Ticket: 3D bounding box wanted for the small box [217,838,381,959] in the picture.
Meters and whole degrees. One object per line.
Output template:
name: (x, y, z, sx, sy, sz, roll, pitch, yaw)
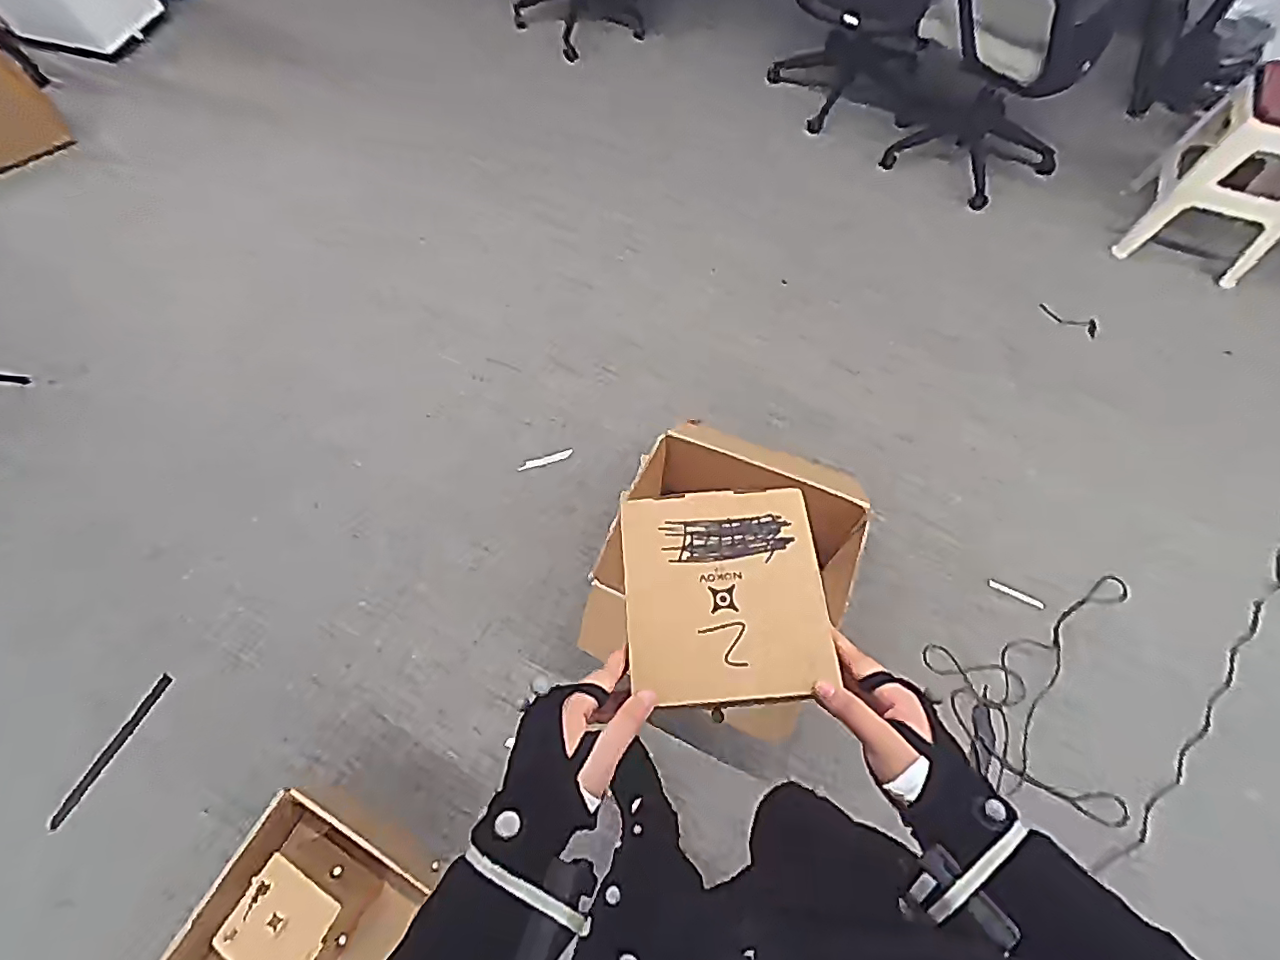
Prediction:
small box: (-0.653, 0.844, 1.062, 0.179, 0.176, 0.168, 28, 70, 11)
